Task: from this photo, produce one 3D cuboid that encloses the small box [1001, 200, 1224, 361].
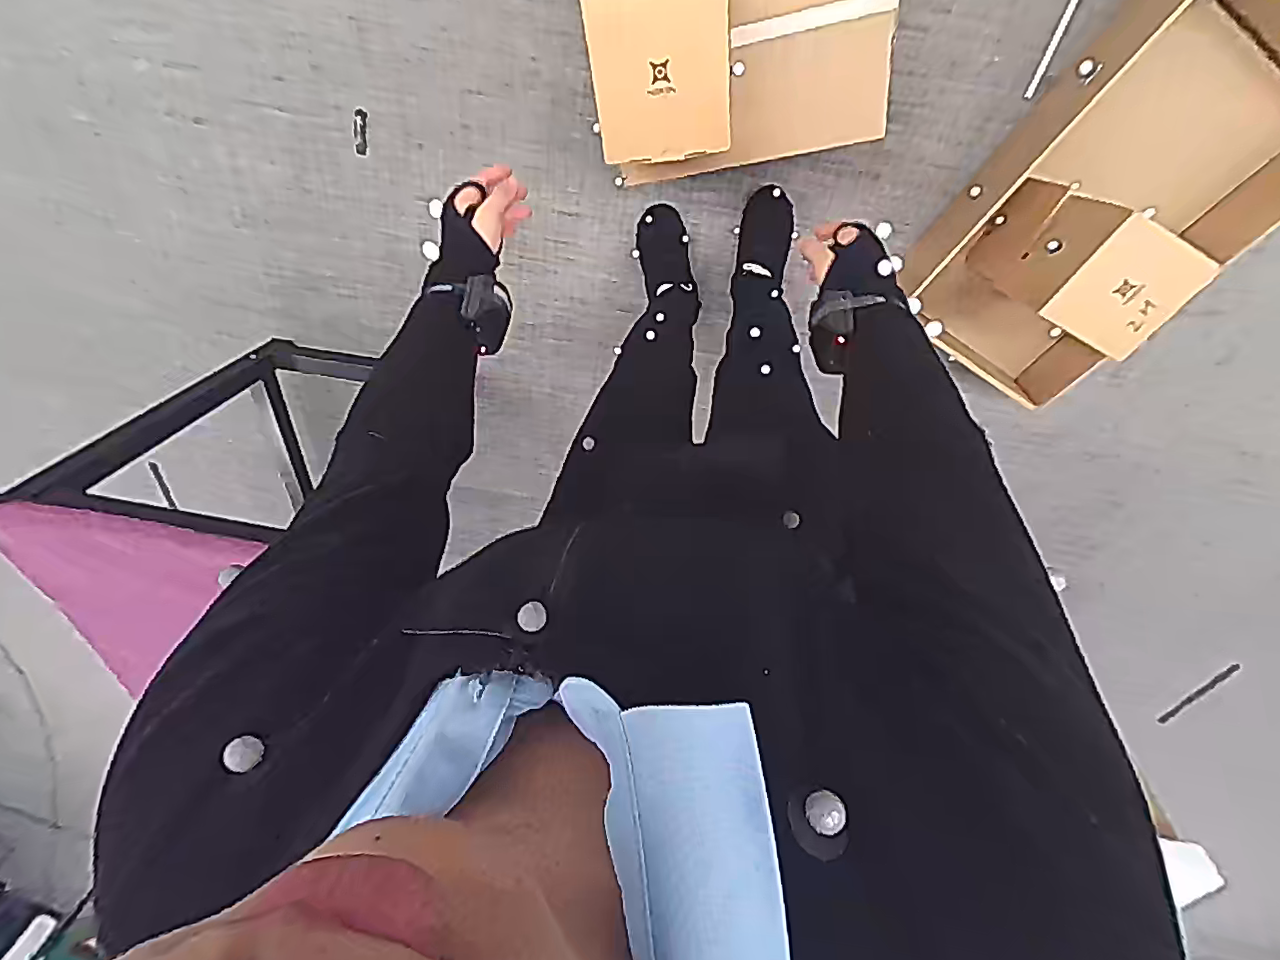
[{"bbox_3d":[0.735,-0.326,0.868,0.179,0.176,0.168,25,125,-10],"label":"small box"}]
